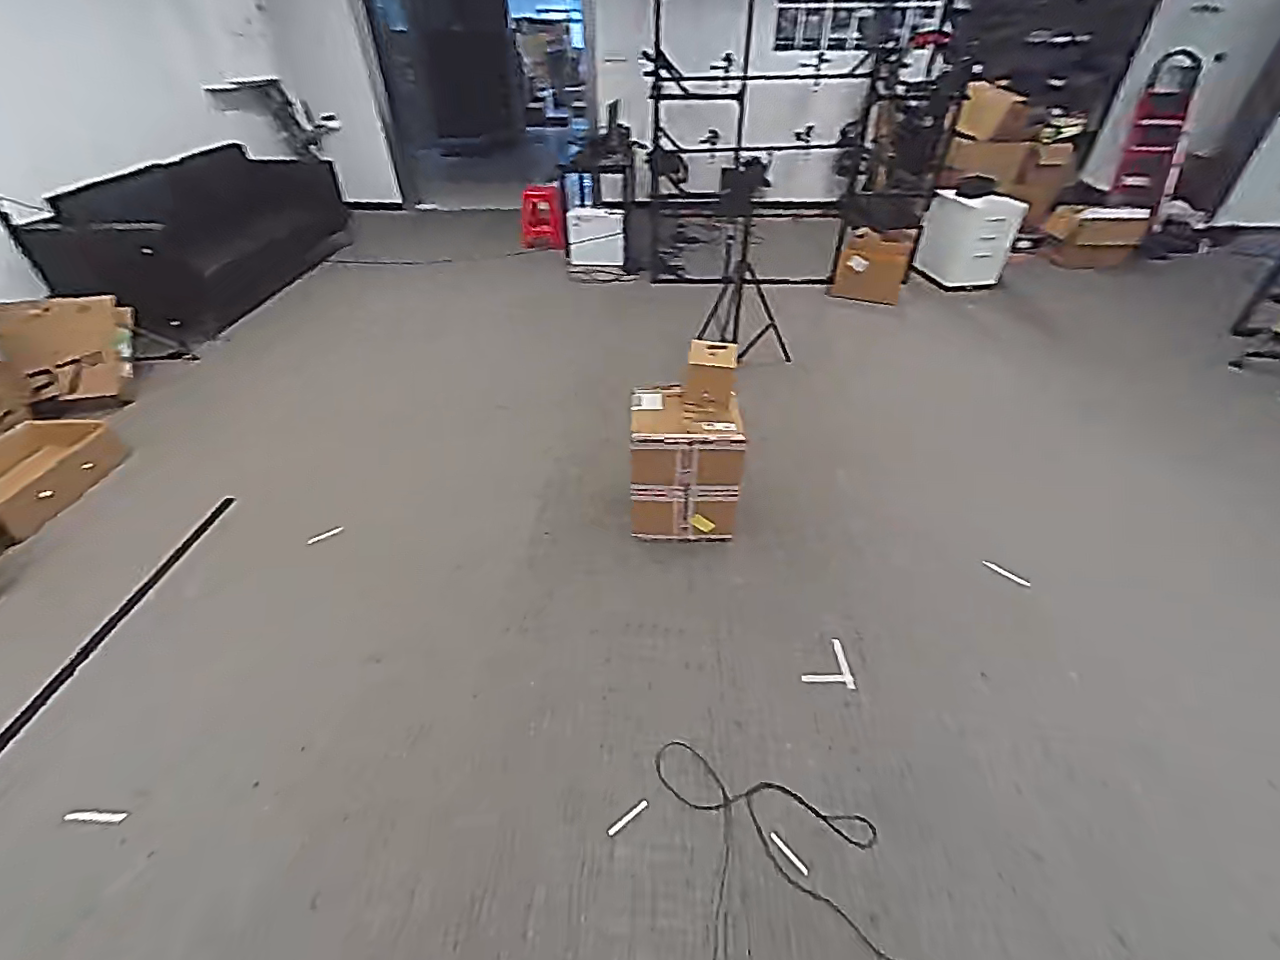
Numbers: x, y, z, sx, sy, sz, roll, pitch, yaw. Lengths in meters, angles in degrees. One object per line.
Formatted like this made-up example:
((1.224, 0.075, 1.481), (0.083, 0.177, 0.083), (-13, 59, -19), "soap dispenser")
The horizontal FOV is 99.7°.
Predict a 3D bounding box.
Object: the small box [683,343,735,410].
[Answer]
((0.250, -0.378, 1.970), (0.168, 0.176, 0.179), (7, 42, 5), "small box")
